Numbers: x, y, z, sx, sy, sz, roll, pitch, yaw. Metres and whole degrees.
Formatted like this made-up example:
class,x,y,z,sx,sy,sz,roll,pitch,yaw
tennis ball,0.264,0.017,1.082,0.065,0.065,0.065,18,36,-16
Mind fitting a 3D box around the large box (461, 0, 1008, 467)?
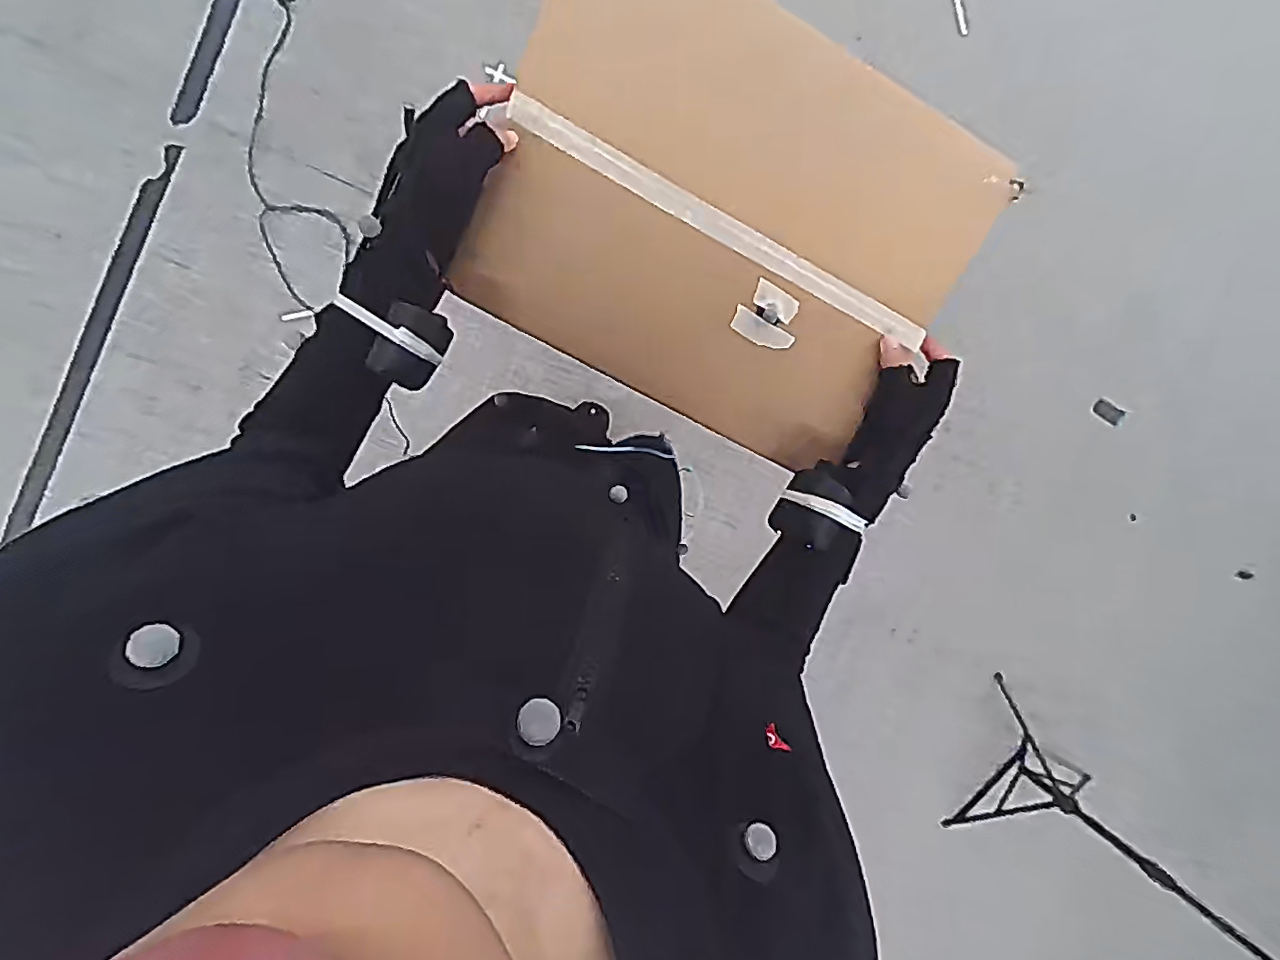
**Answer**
class,x,y,z,sx,sy,sz,roll,pitch,yaw
large box,0.074,-0.268,0.621,0.408,0.320,0.320,26,106,-10
